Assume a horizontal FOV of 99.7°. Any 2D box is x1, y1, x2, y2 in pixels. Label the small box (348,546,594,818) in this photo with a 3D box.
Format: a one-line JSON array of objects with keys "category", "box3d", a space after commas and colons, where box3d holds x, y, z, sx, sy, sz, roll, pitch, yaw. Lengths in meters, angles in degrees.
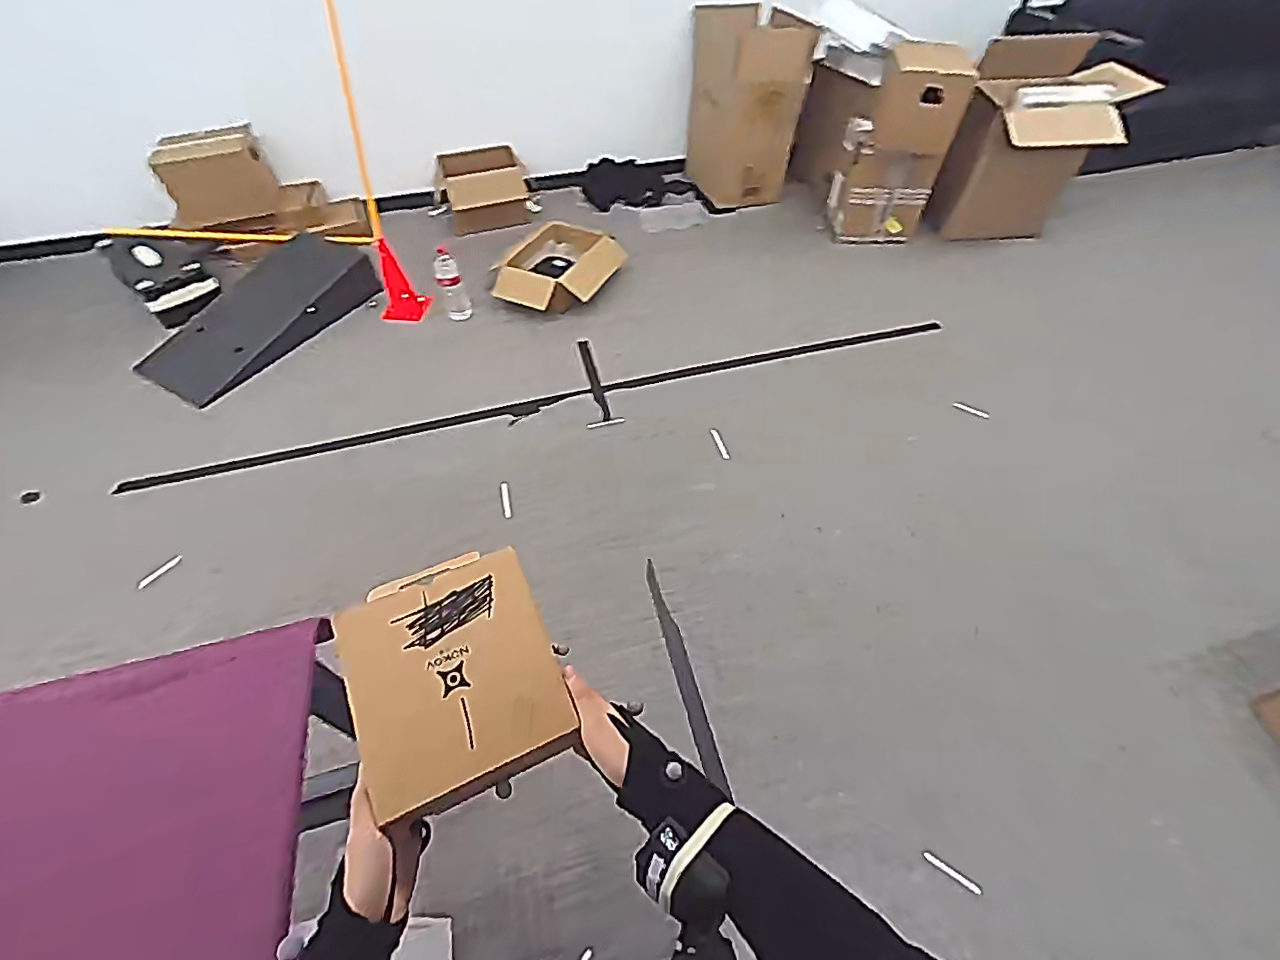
[{"category": "small box", "box3d": [-0.152, 0.196, 0.524, 0.168, 0.176, 0.179, -21, 65, -14]}]
